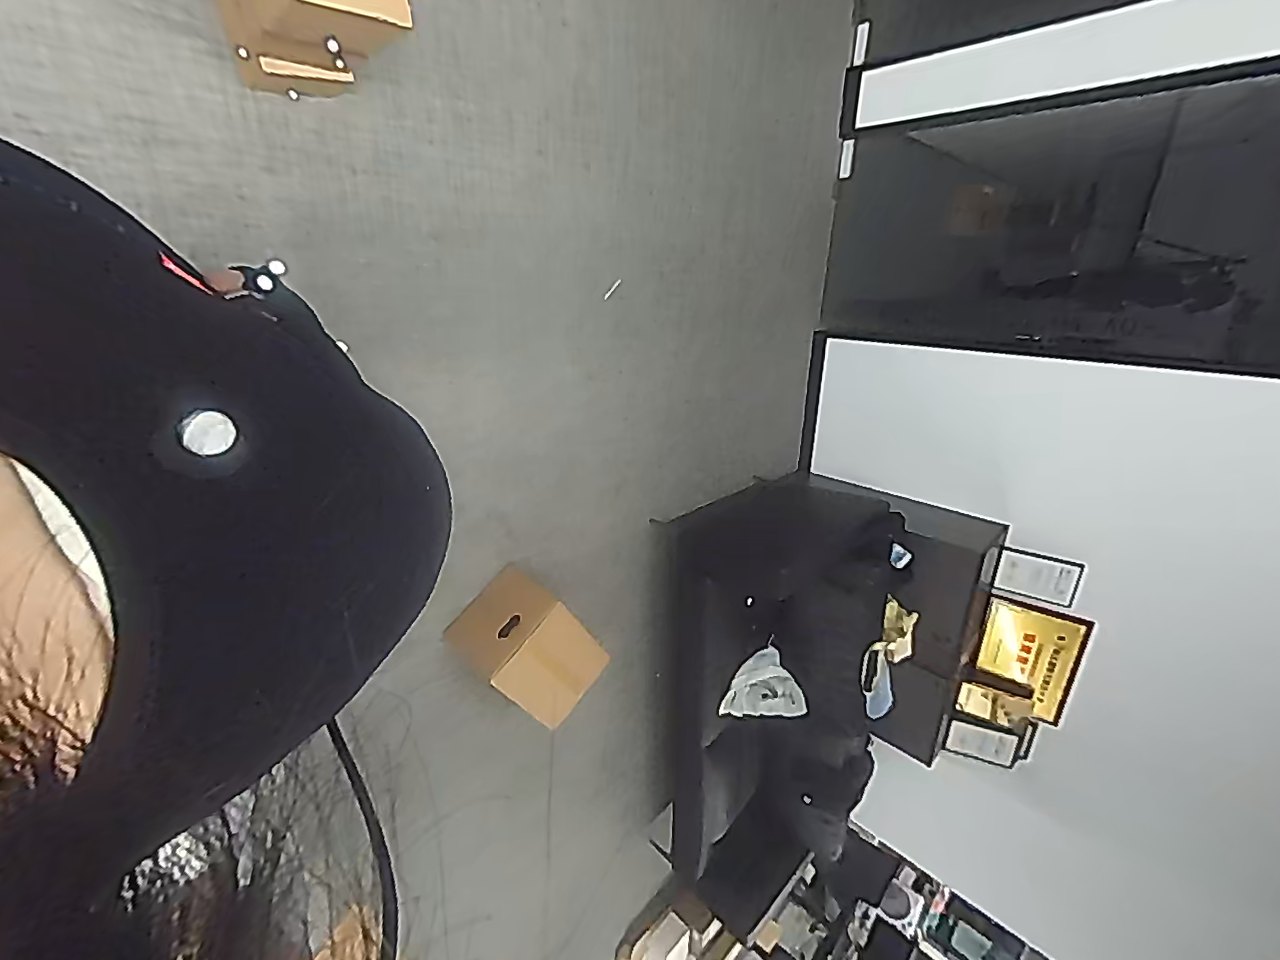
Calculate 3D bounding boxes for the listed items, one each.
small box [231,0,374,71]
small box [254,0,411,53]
[{"bbox_3d":[-0.600,-0.847,0.948,0.179,0.176,0.168,-20,119,-40],"label":"small box"},{"bbox_3d":[-0.488,-0.795,0.840,0.179,0.176,0.168,-22,120,-41],"label":"small box"}]
